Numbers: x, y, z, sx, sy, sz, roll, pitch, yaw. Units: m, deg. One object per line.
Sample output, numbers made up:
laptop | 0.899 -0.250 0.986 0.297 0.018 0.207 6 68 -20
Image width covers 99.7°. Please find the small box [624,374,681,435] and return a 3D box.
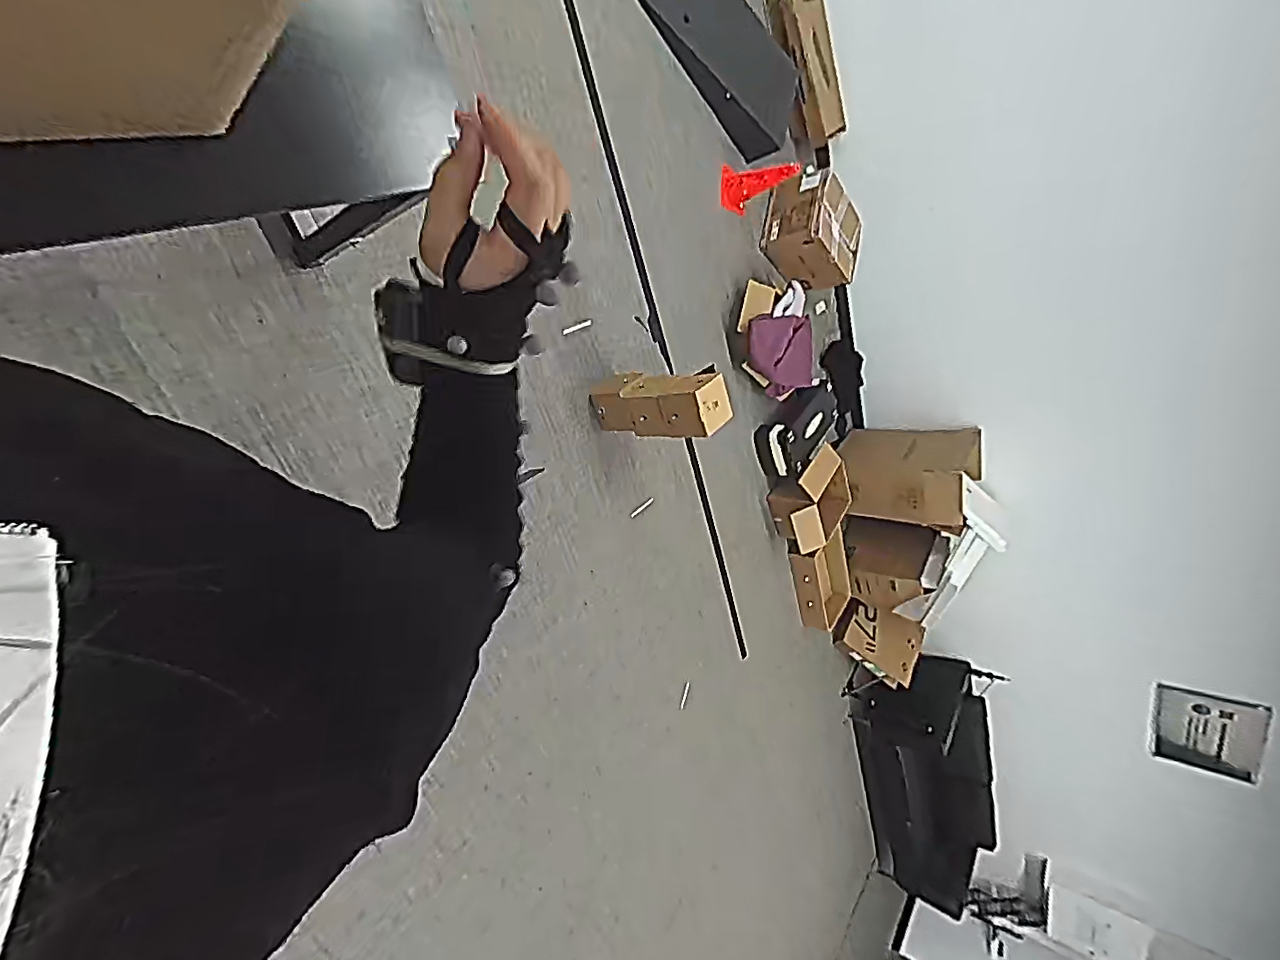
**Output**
small box | 0.061 -0.274 1.990 0.179 0.176 0.168 -44 124 -36

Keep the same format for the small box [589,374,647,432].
small box | -0.065 -0.299 2.093 0.179 0.176 0.168 -43 122 -36

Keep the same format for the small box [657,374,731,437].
small box | 0.188 -0.260 1.885 0.179 0.176 0.168 -39 120 -39
